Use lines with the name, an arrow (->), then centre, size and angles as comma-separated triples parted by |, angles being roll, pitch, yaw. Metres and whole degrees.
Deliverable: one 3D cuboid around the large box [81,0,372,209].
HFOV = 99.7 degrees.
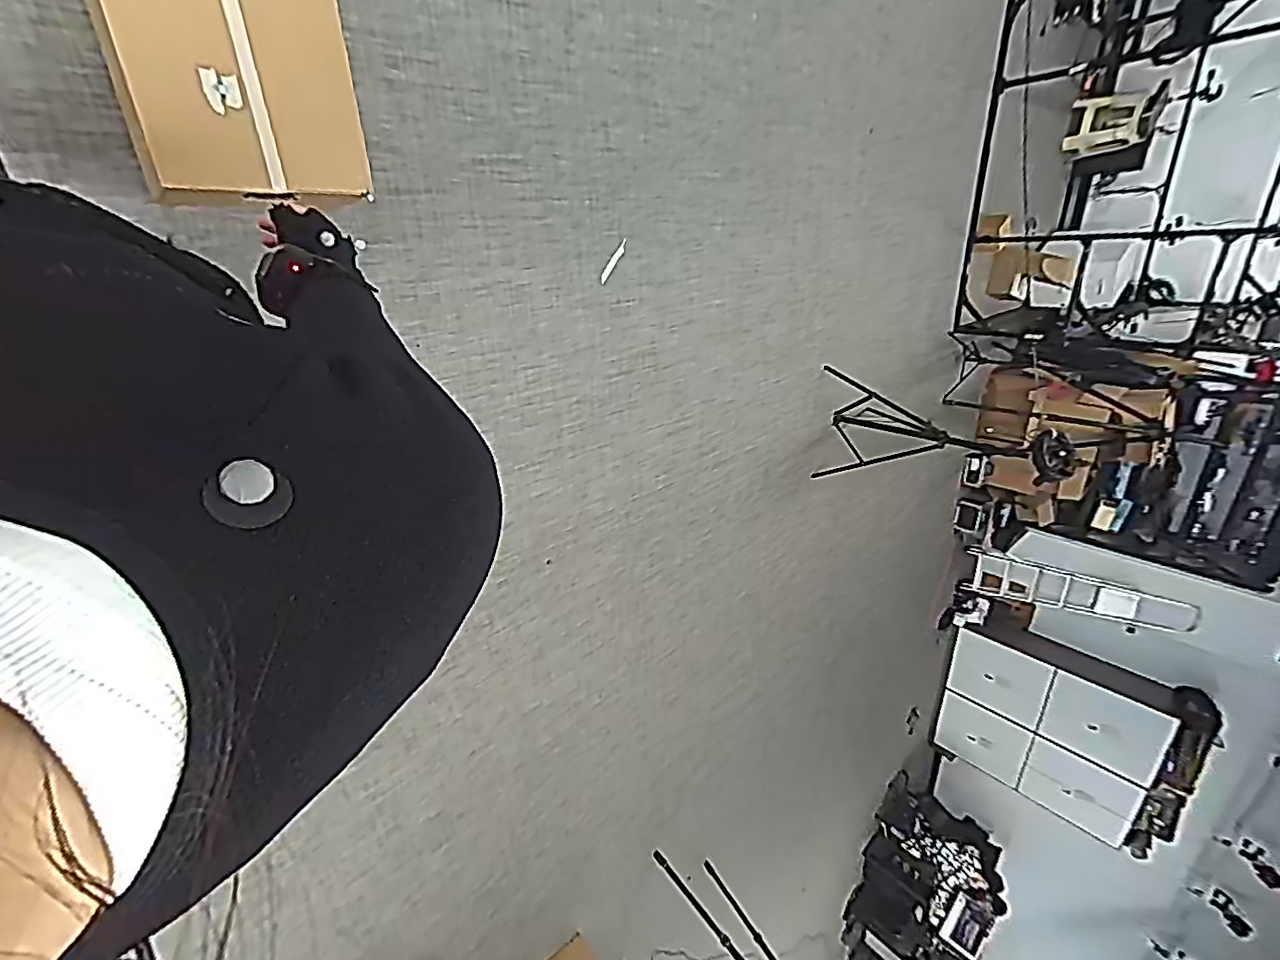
large box -> -0.723, -0.710, 0.945 | 0.320, 0.320, 0.408 | -21, 120, -36
